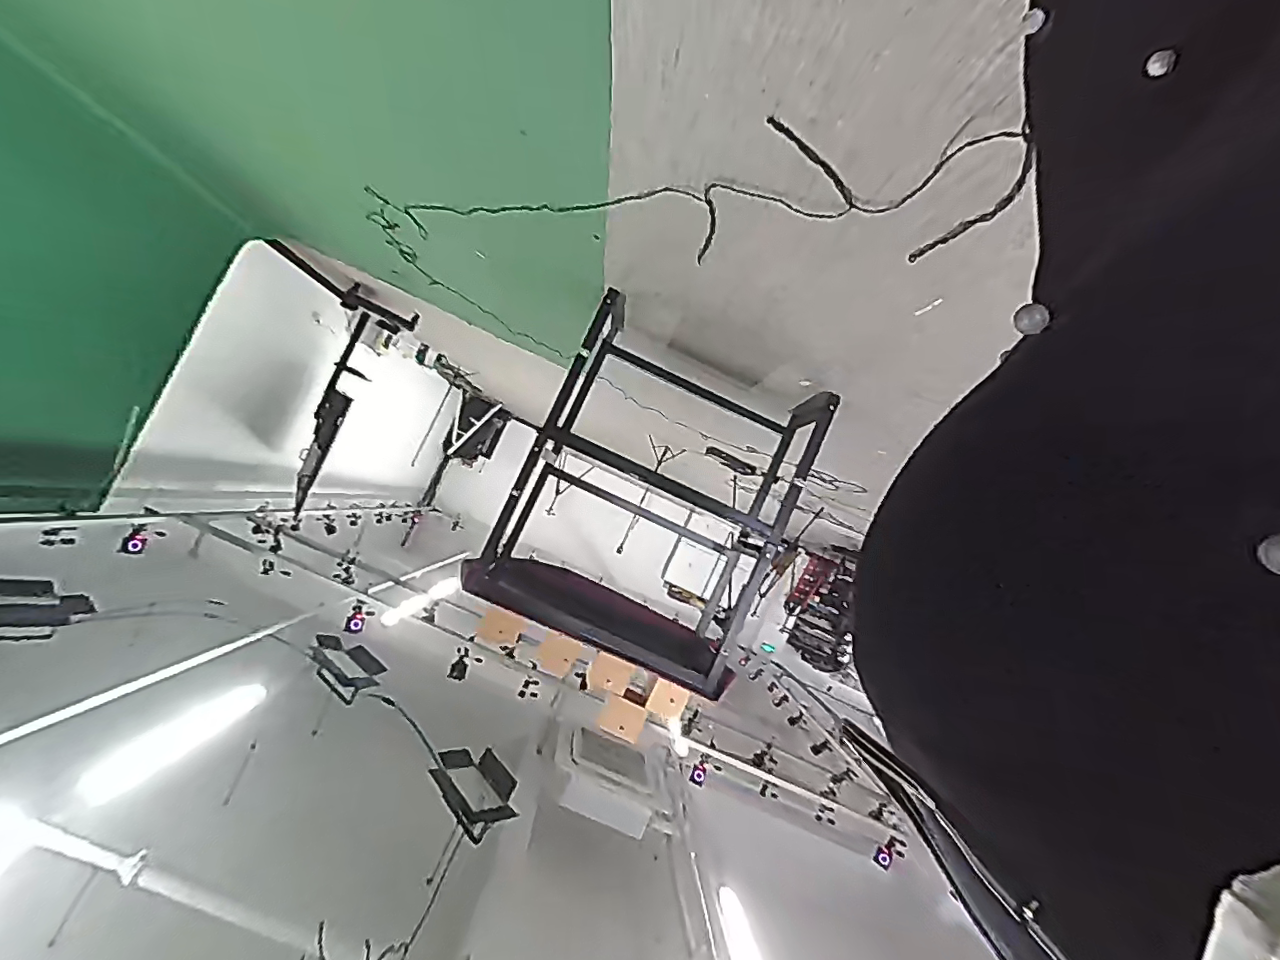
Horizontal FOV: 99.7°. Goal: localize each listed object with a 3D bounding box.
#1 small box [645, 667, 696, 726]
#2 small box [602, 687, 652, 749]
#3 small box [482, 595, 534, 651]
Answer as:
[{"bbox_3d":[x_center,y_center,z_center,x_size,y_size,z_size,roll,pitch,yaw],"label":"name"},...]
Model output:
[{"bbox_3d":[0.139,0.976,2.451,0.168,0.176,0.179,26,178,-5],"label":"small box"},{"bbox_3d":[-0.055,1.064,2.432,0.179,0.176,0.168,26,177,0],"label":"small box"},{"bbox_3d":[-0.584,0.634,2.423,0.179,0.176,0.168,25,175,-6],"label":"small box"}]
